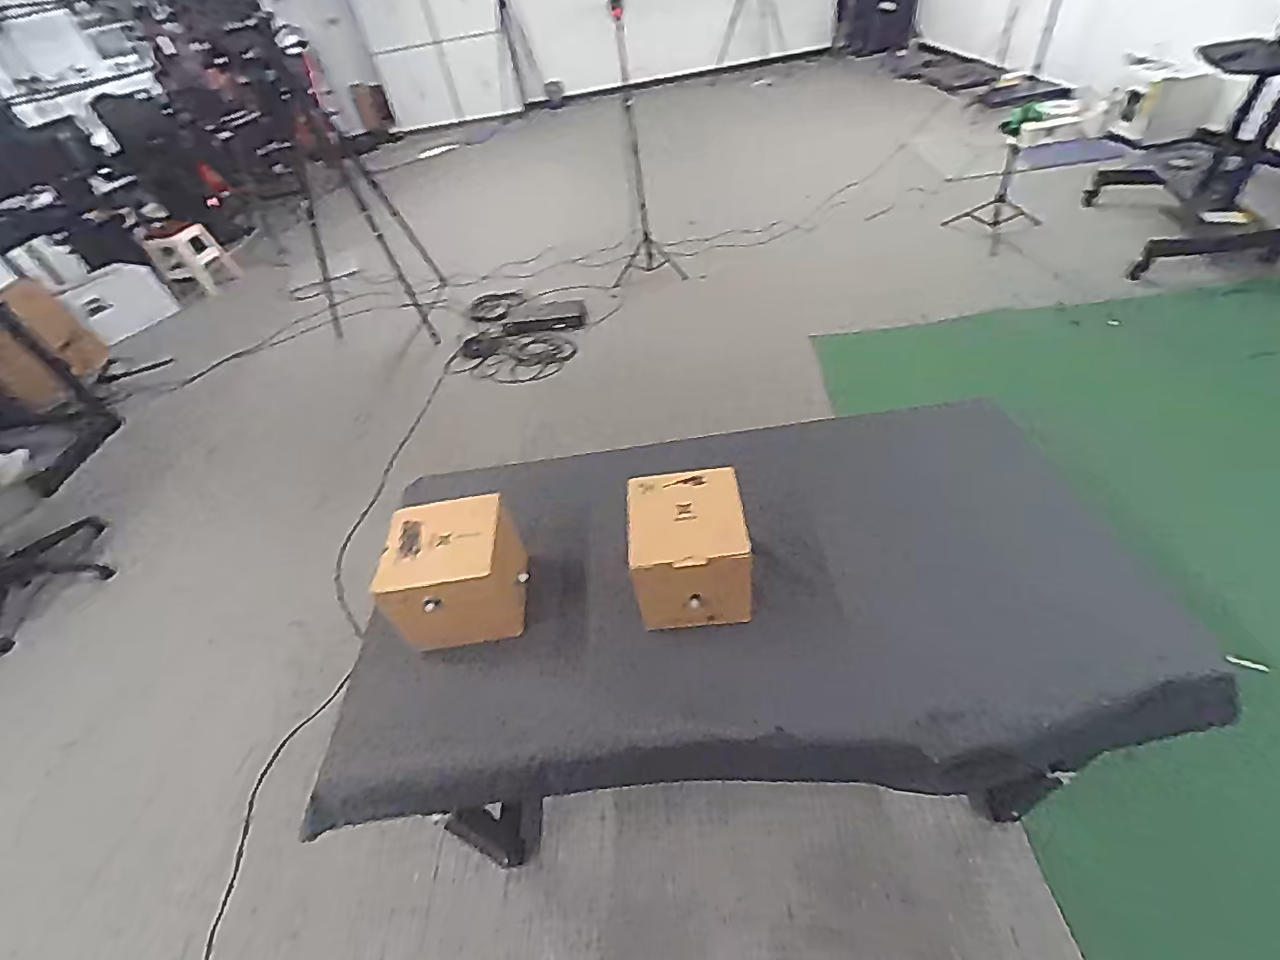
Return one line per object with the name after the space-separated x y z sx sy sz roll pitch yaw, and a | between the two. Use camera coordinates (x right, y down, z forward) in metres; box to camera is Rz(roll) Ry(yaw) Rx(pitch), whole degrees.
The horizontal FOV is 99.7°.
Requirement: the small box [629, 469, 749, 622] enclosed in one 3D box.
0.077 0.109 0.846 0.168 0.176 0.179 -7 45 5 | small box

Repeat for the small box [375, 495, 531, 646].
-0.289 0.150 0.877 0.179 0.176 0.168 -9 44 1 | small box
